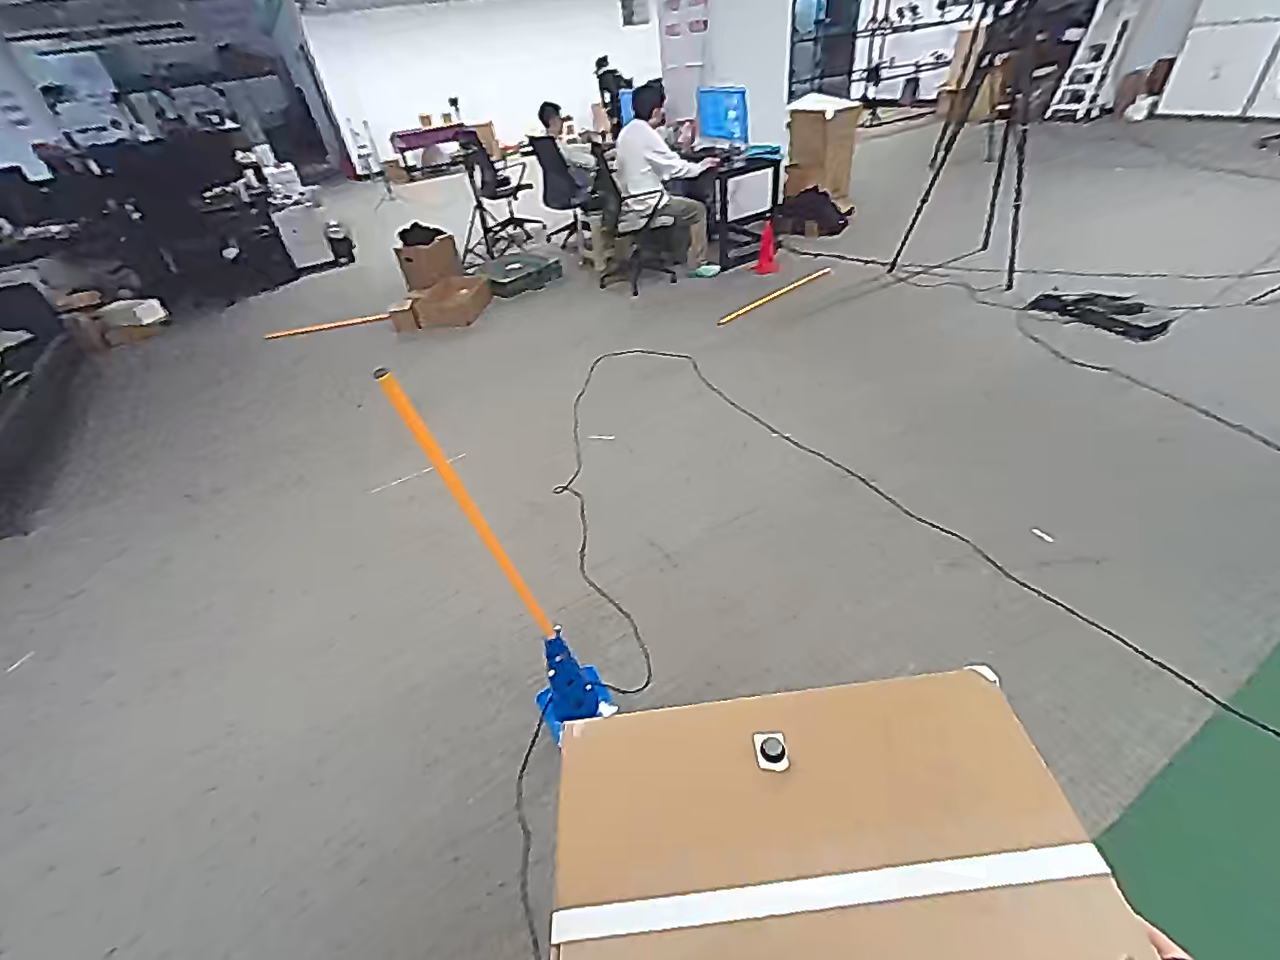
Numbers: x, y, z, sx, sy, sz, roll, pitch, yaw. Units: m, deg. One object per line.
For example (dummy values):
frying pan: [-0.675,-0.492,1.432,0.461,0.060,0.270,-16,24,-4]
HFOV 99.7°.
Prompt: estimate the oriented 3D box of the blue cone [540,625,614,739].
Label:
blue cone: [-0.211,0.538,1.521,0.193,0.380,0.192,-28,42,-20]
